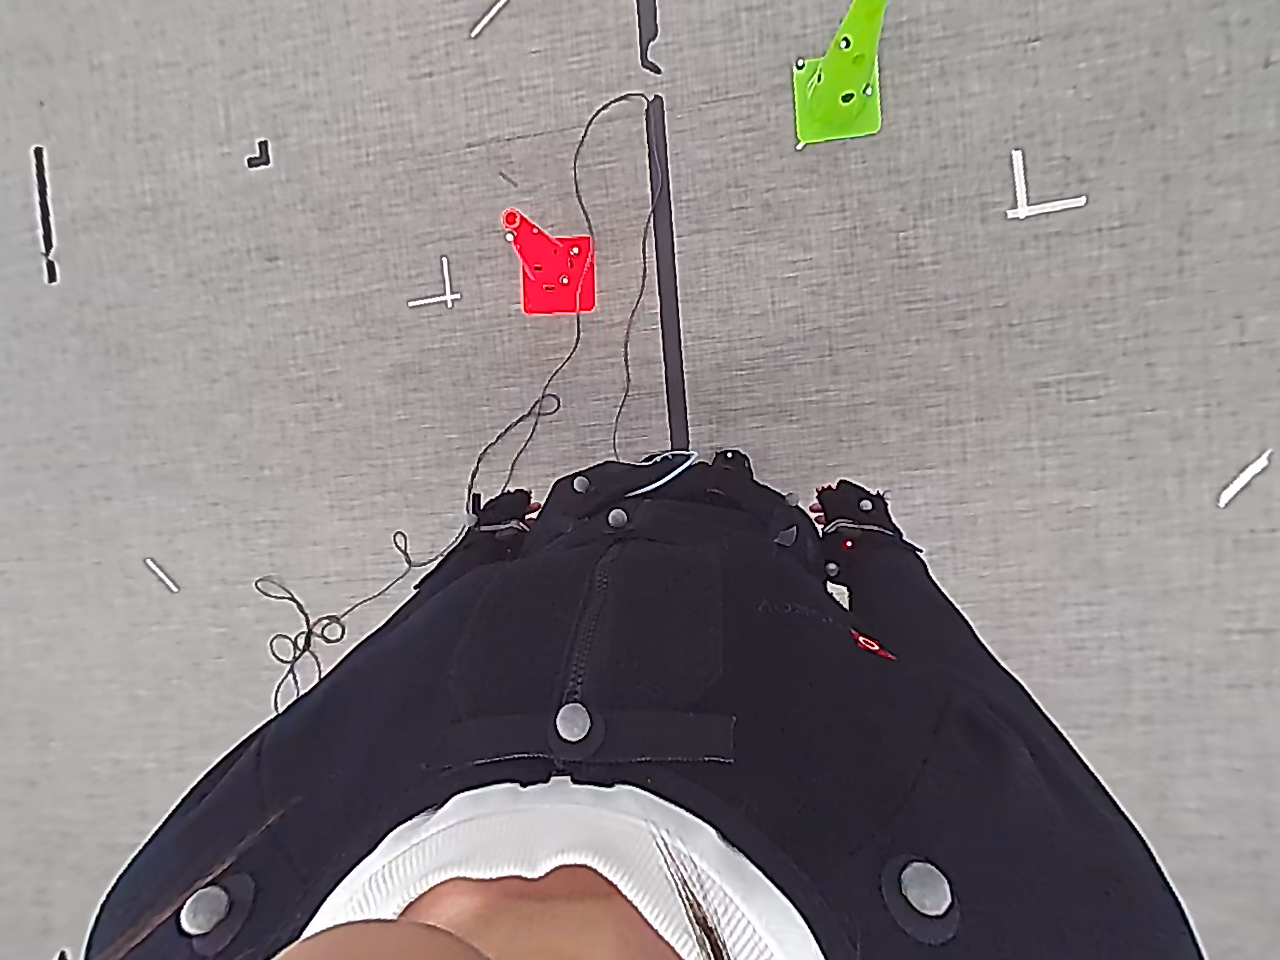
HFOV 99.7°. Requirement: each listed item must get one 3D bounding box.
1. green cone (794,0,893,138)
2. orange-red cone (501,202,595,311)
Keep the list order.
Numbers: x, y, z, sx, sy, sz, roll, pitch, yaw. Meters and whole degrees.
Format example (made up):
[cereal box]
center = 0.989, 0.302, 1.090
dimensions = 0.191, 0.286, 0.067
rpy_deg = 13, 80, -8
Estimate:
[green cone]
center = 0.463, -0.935, 1.147
dimensions = 0.202, 0.368, 0.200
rpy_deg = -4, 92, 6
[orange-red cone]
center = -0.242, -0.543, 1.259
dimensions = 0.199, 0.360, 0.198
rpy_deg = 0, 92, 8
